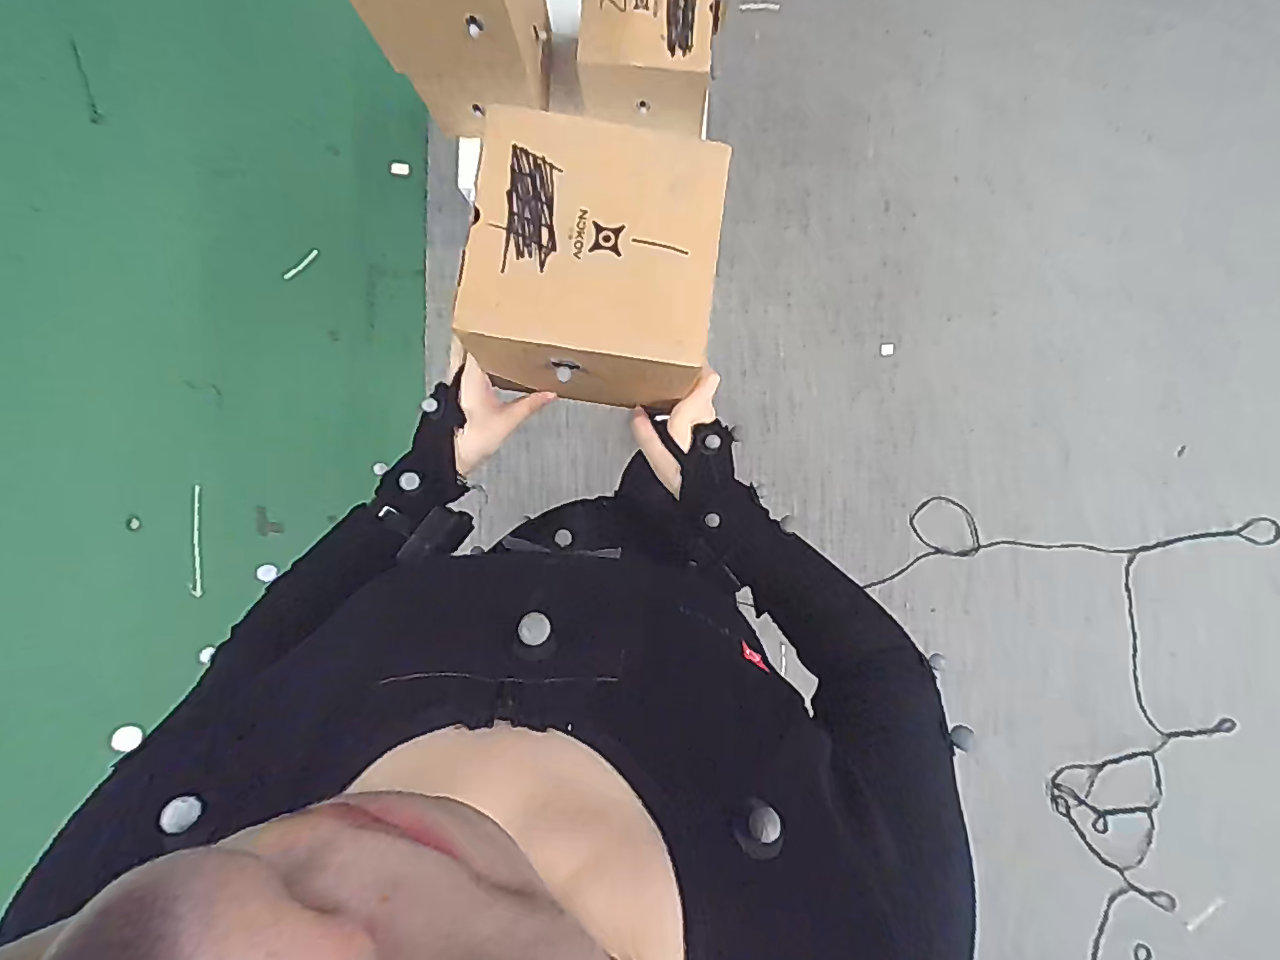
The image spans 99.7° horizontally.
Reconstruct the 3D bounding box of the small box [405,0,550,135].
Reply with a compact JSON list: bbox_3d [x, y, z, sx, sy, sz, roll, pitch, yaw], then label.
[{"bbox_3d":[-0.224,-0.619,0.774,0.168,0.176,0.179,3,93,-1],"label":"small box"}]

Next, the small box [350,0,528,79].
[{"bbox_3d":[-0.225,-0.595,0.613,0.179,0.176,0.168,2,92,1],"label":"small box"}]

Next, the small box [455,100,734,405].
[{"bbox_3d":[-0.035,-0.168,0.455,0.179,0.176,0.168,8,86,-4],"label":"small box"}]
